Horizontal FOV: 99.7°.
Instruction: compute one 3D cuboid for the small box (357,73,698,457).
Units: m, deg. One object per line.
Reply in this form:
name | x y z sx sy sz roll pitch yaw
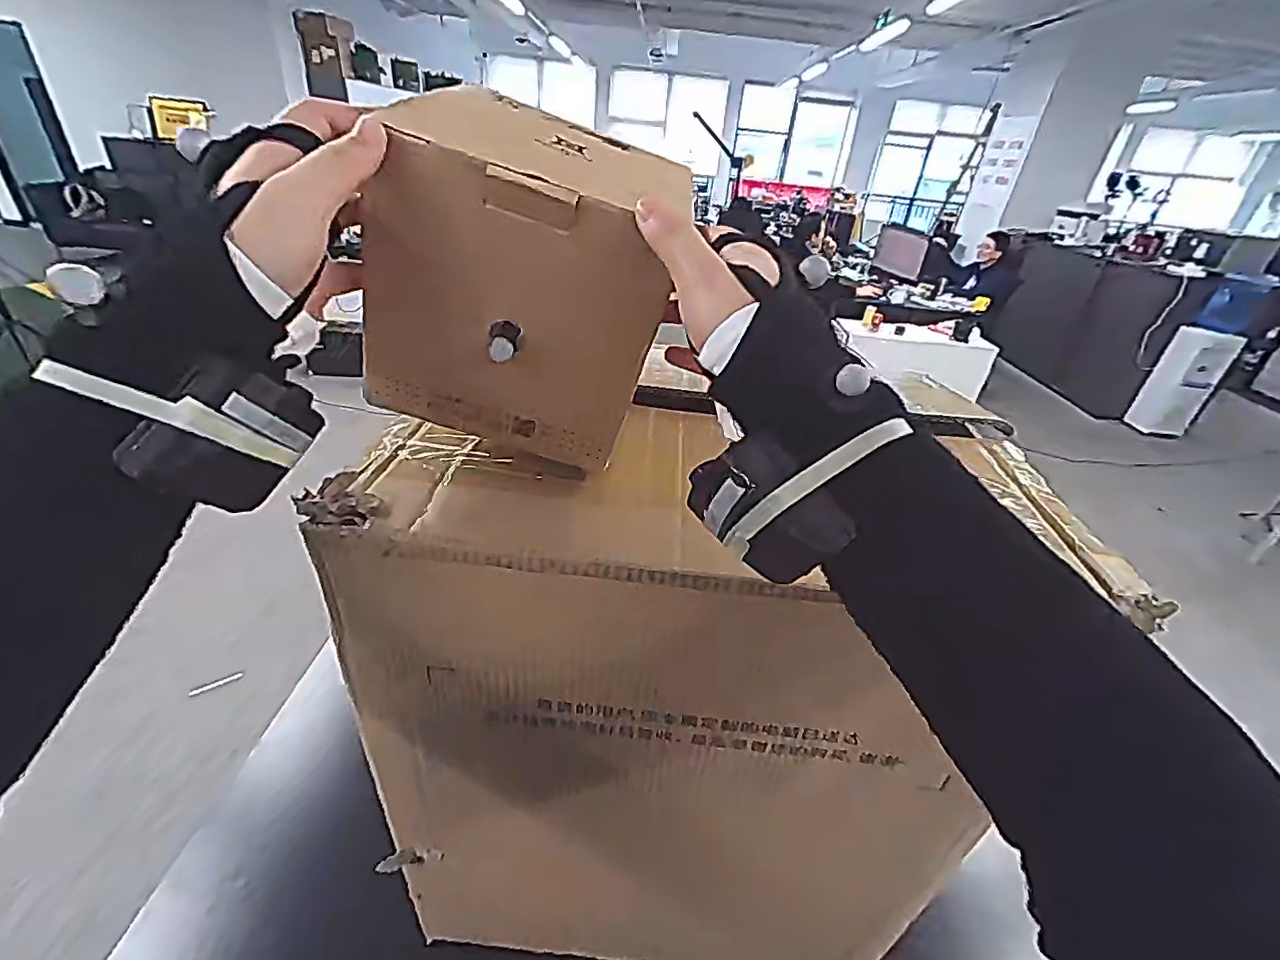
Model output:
small box | -0.066 -0.141 0.367 0.168 0.176 0.179 16 40 -9
